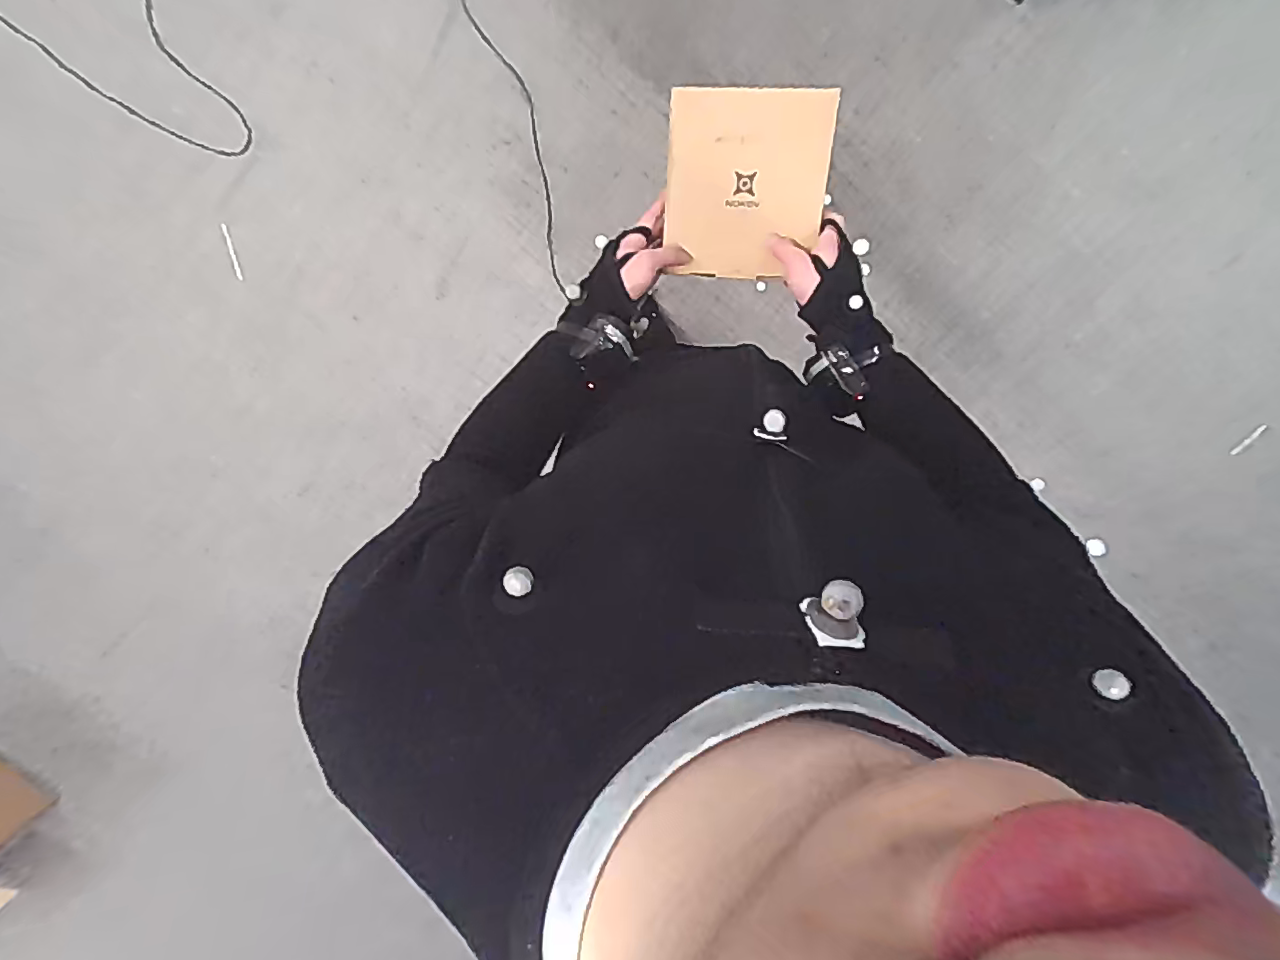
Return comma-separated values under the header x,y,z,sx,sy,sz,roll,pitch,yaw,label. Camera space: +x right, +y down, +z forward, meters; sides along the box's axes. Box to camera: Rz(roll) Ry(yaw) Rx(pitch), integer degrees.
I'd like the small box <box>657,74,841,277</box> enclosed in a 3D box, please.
x,y,z,sx,sy,sz,roll,pitch,yaw,label
0.112,-0.330,0.614,0.168,0.176,0.179,4,111,5,small box
